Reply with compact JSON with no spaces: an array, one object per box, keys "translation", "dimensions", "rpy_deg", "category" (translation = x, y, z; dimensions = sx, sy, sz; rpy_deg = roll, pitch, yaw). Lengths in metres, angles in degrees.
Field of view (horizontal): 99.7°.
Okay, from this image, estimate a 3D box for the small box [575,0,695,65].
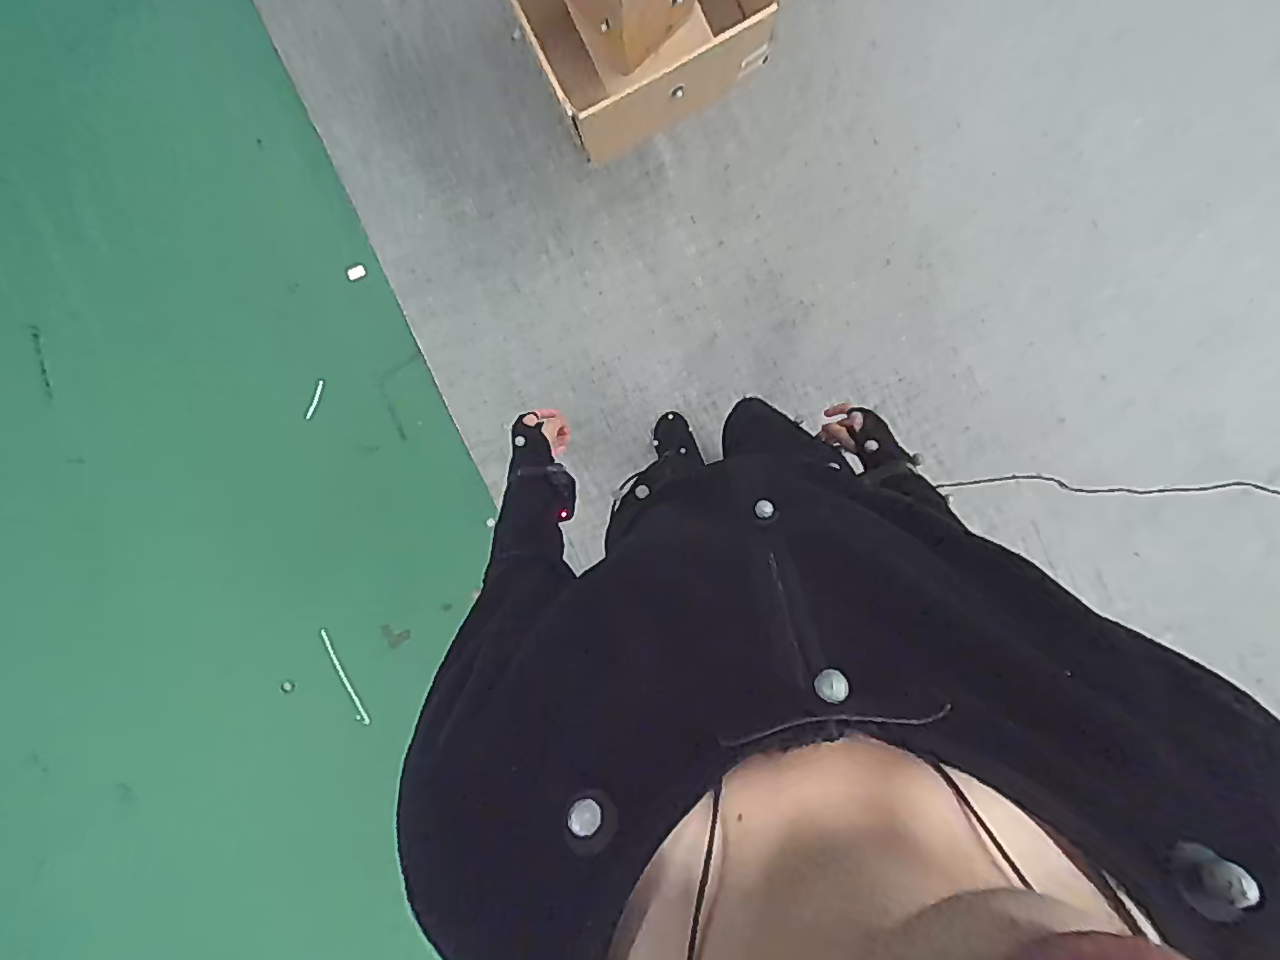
[{"translation":[-0.013,-0.876,0.937],"dimensions":[0.168,0.176,0.179],"rpy_deg":[-39,92,5],"category":"small box"}]
